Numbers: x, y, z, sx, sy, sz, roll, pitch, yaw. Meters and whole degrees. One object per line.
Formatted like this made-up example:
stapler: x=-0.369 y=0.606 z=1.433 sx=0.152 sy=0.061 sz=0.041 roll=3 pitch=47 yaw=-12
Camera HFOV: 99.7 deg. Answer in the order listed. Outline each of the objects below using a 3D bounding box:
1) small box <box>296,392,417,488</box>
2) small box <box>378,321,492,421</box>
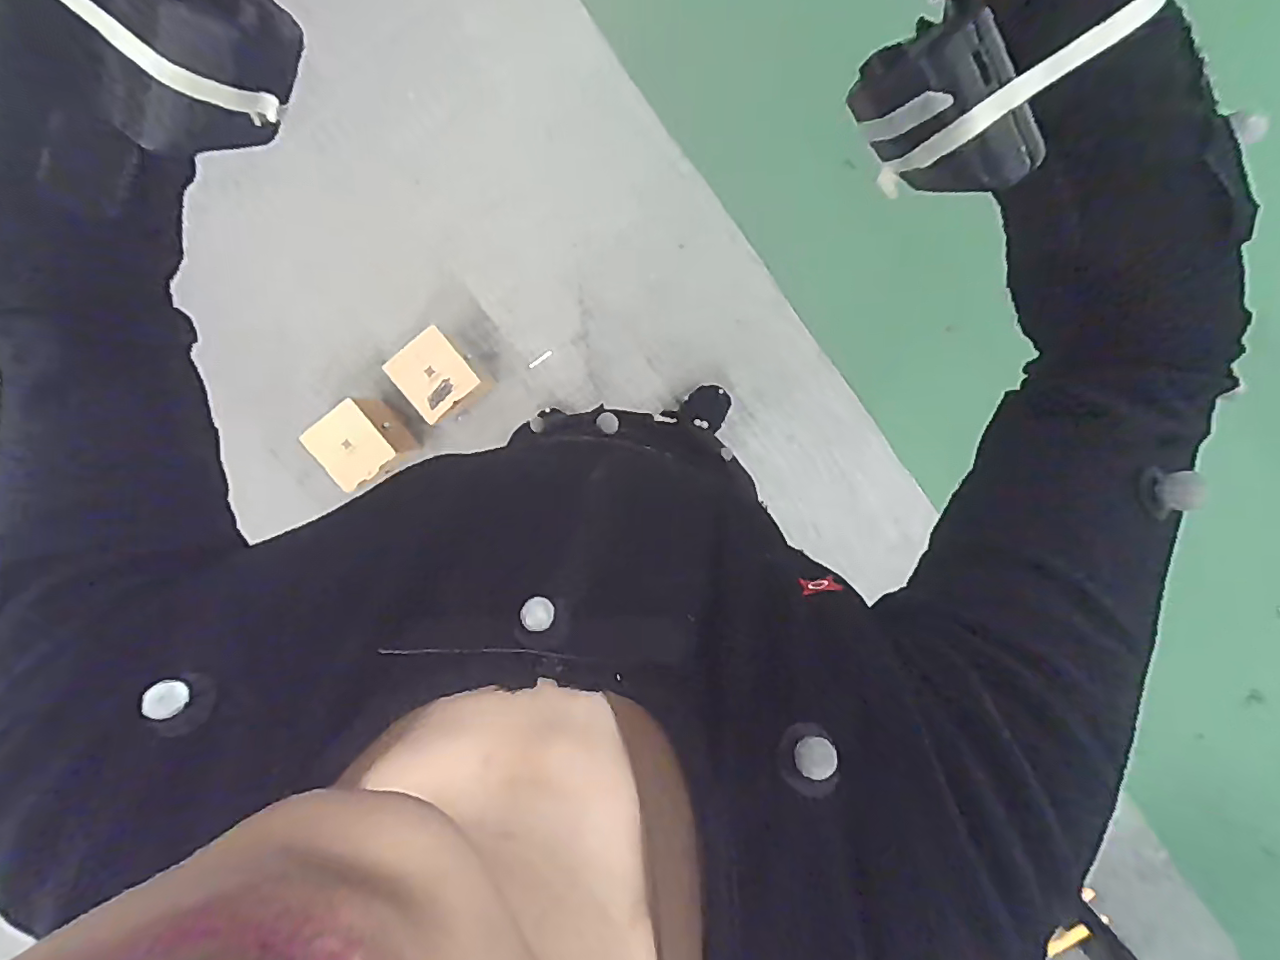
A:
small box: x=-0.707 y=-0.104 z=1.368 sx=0.168 sy=0.176 sz=0.179 roll=-37 pitch=98 yaw=5
small box: x=-0.498 y=-0.267 z=1.344 sx=0.168 sy=0.176 sz=0.179 roll=-37 pitch=97 yaw=5
